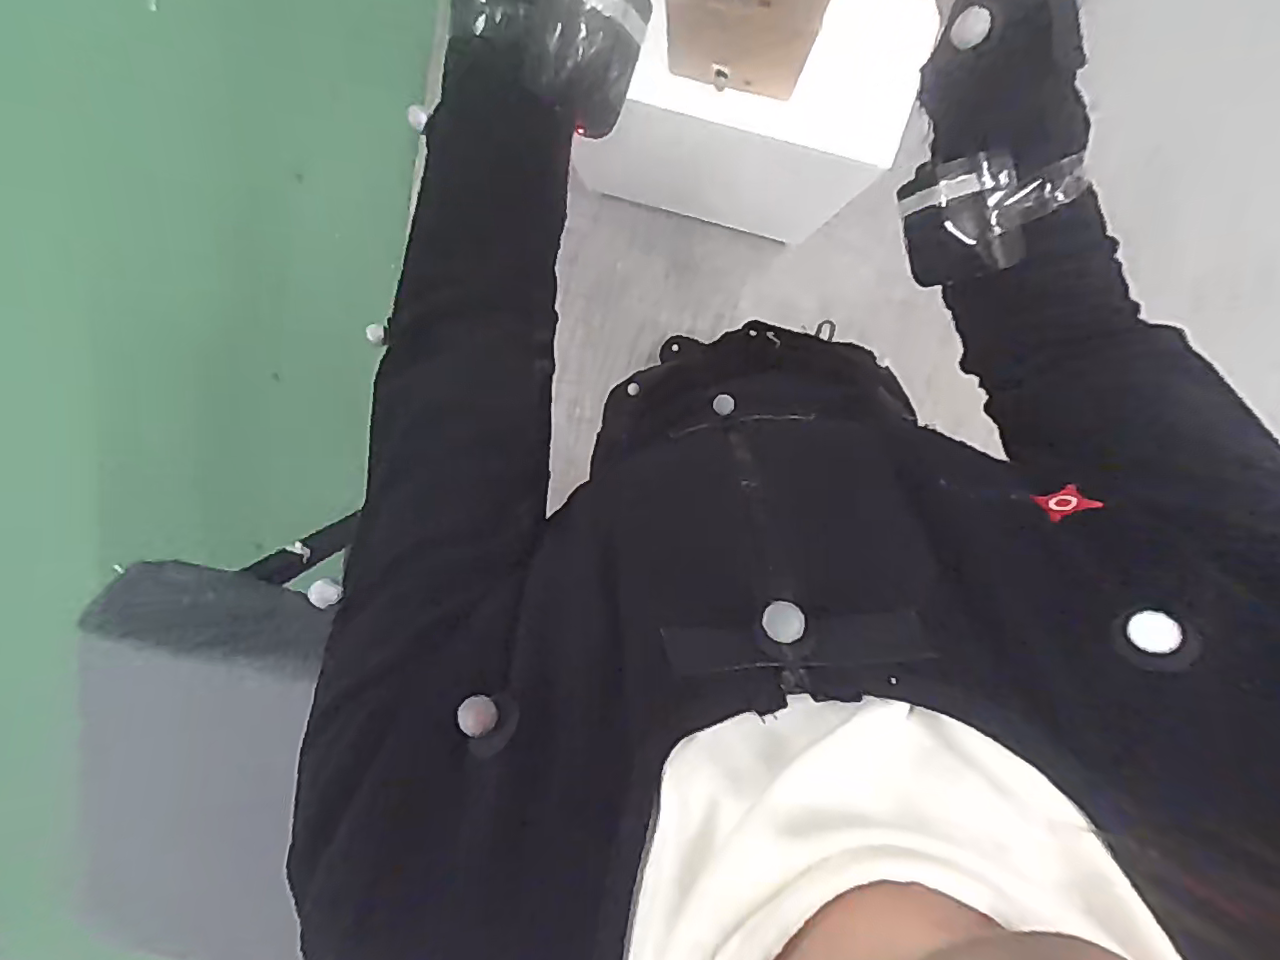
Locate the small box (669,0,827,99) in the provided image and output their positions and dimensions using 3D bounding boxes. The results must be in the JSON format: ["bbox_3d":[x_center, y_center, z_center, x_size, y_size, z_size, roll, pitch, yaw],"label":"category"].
[{"bbox_3d":[0.128,-0.568,0.597,0.168,0.176,0.179,14,105,3],"label":"small box"}]
